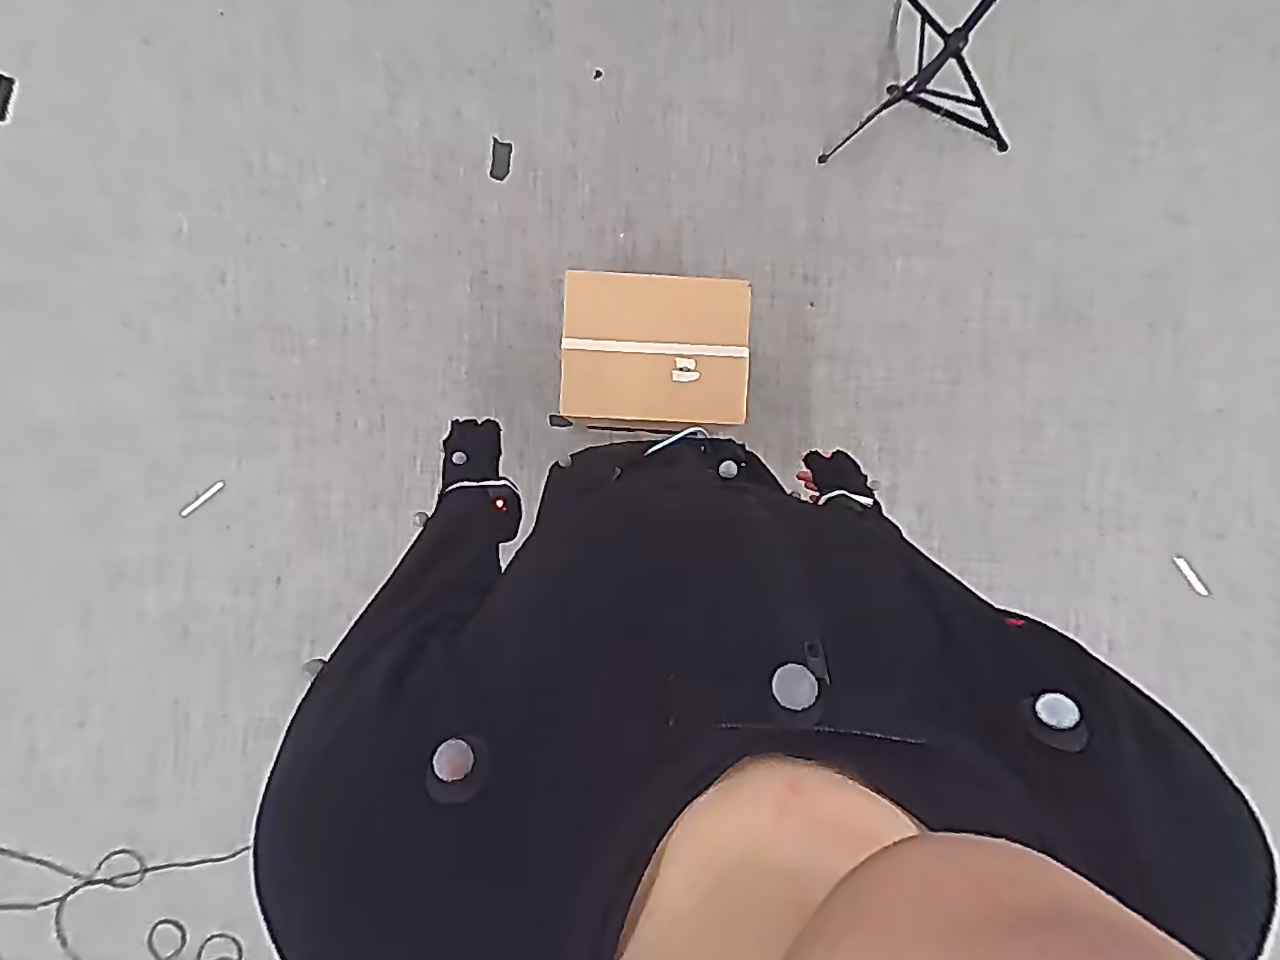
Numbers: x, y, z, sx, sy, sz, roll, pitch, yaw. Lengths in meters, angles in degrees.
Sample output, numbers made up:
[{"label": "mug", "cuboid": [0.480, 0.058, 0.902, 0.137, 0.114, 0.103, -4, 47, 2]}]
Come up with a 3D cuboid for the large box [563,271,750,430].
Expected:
[{"label": "large box", "cuboid": [0.029, -0.293, 1.323, 0.408, 0.320, 0.320, 3, 92, -2]}]
